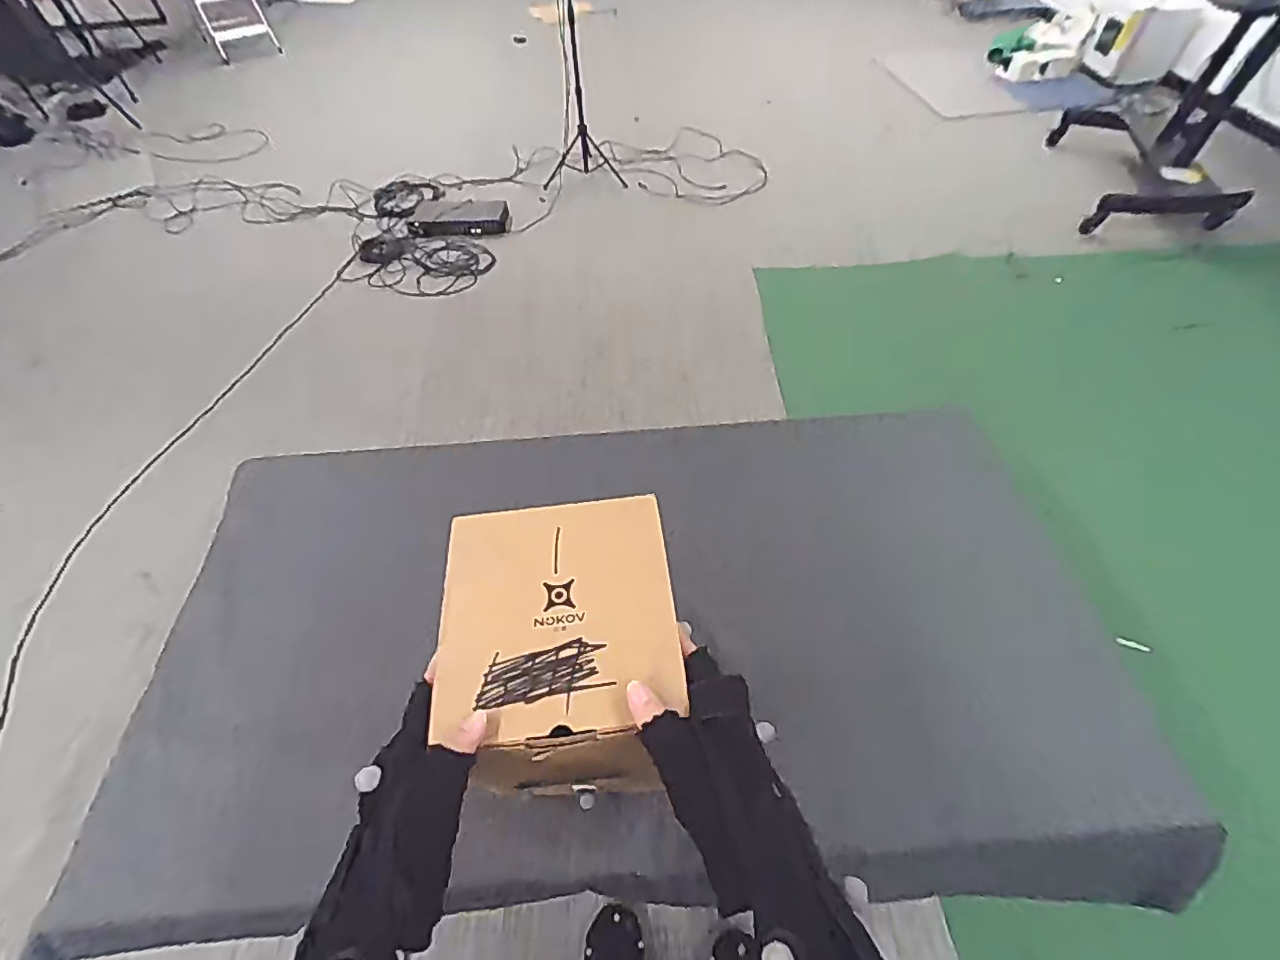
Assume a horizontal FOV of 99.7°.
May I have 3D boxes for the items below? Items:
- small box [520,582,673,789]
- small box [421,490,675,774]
[{"bbox_3d":[-0.054,0.224,0.591,0.168,0.176,0.179,-4,54,0],"label":"small box"},{"bbox_3d":[-0.062,0.134,0.451,0.168,0.176,0.179,-6,52,-2],"label":"small box"}]
